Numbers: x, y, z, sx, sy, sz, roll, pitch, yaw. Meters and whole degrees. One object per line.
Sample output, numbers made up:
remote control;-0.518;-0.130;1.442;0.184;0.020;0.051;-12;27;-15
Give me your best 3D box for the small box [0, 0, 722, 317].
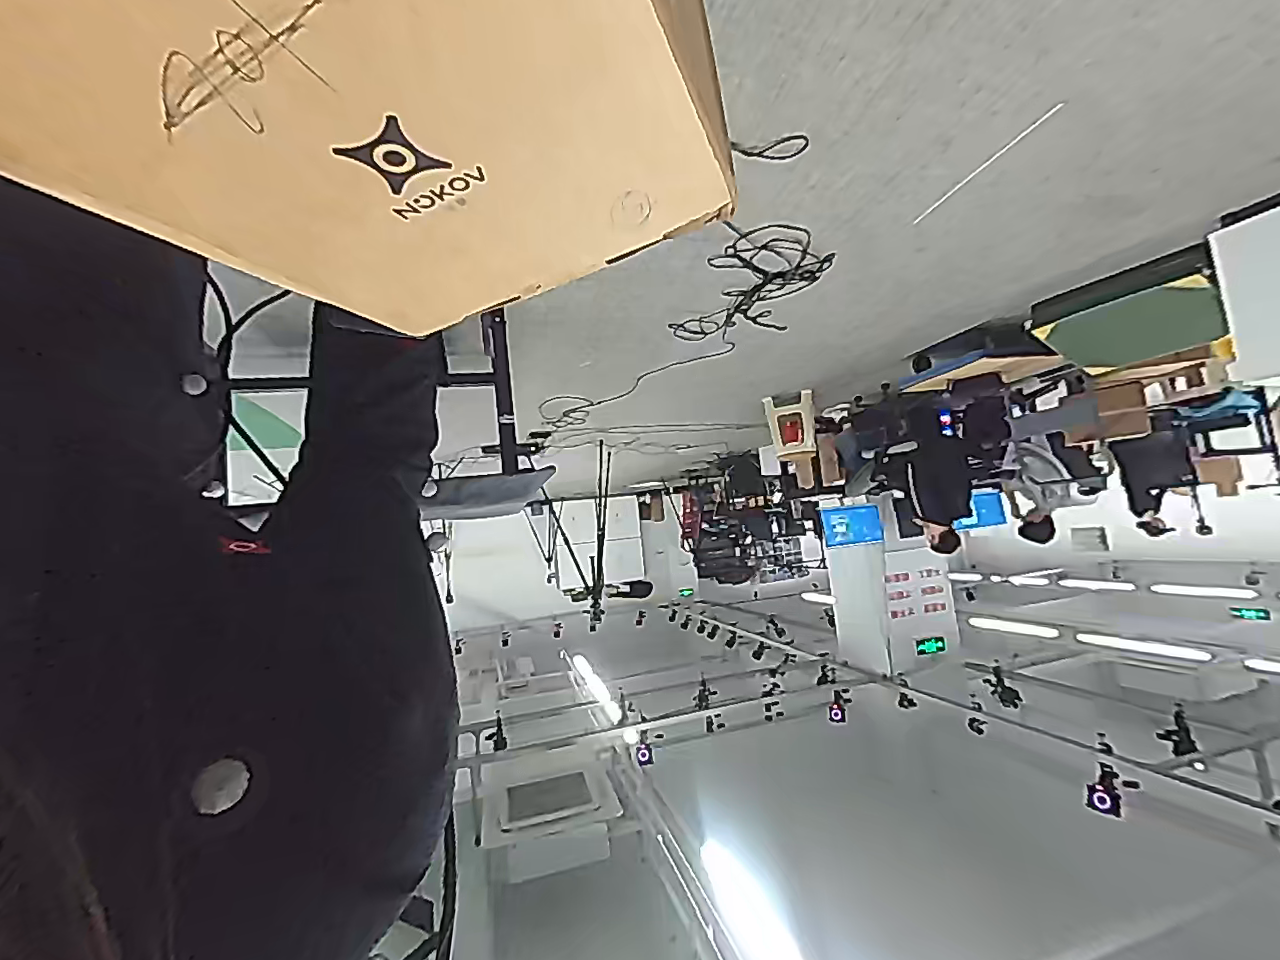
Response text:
small box;-0.084;-0.180;0.170;0.168;0.176;0.179;-13;171;22
